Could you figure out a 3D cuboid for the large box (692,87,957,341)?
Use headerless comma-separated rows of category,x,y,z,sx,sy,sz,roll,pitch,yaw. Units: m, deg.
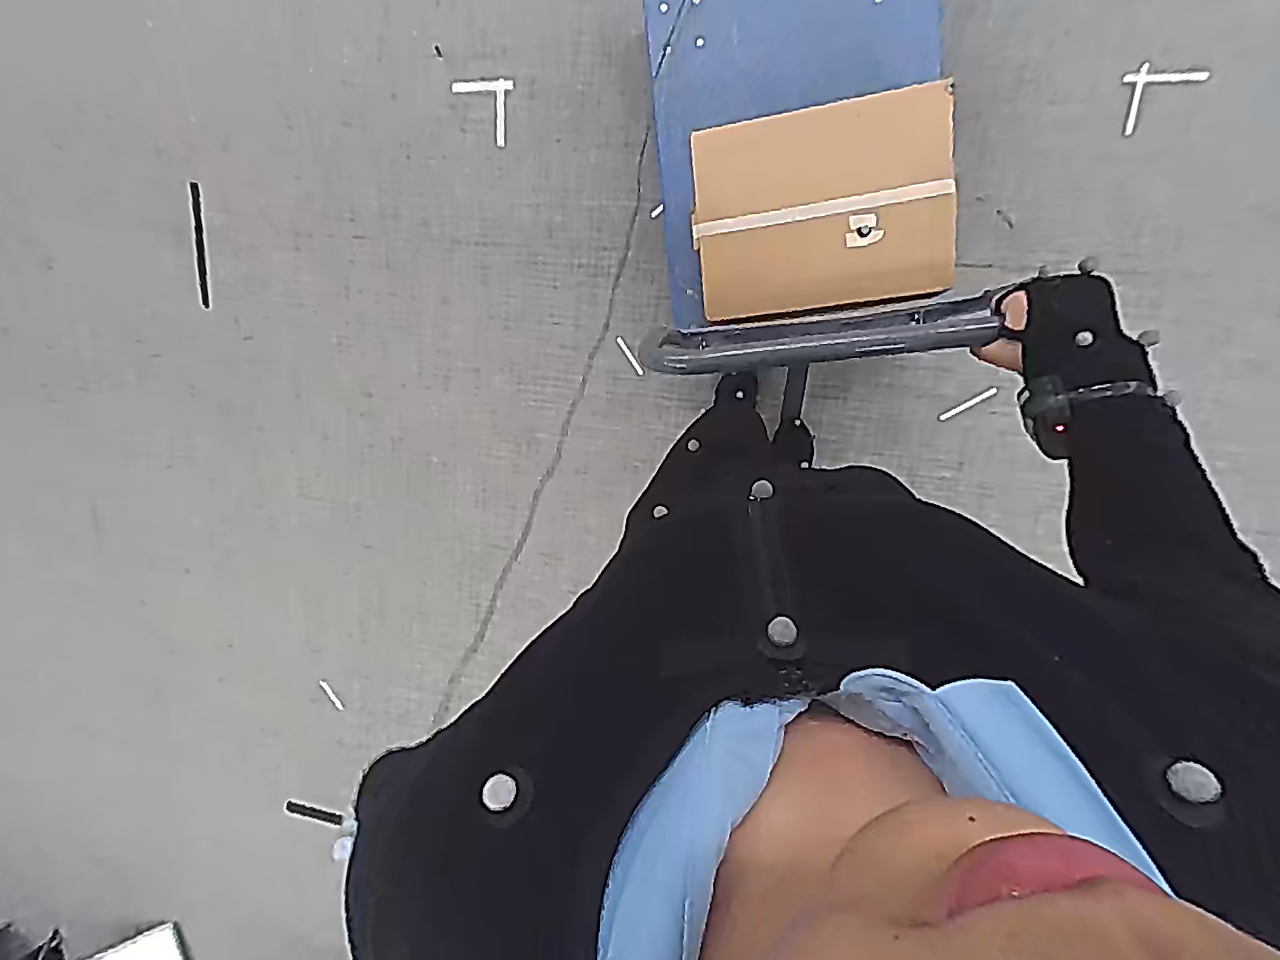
large box,0.325,-0.456,1.027,0.408,0.320,0.320,-4,100,12
